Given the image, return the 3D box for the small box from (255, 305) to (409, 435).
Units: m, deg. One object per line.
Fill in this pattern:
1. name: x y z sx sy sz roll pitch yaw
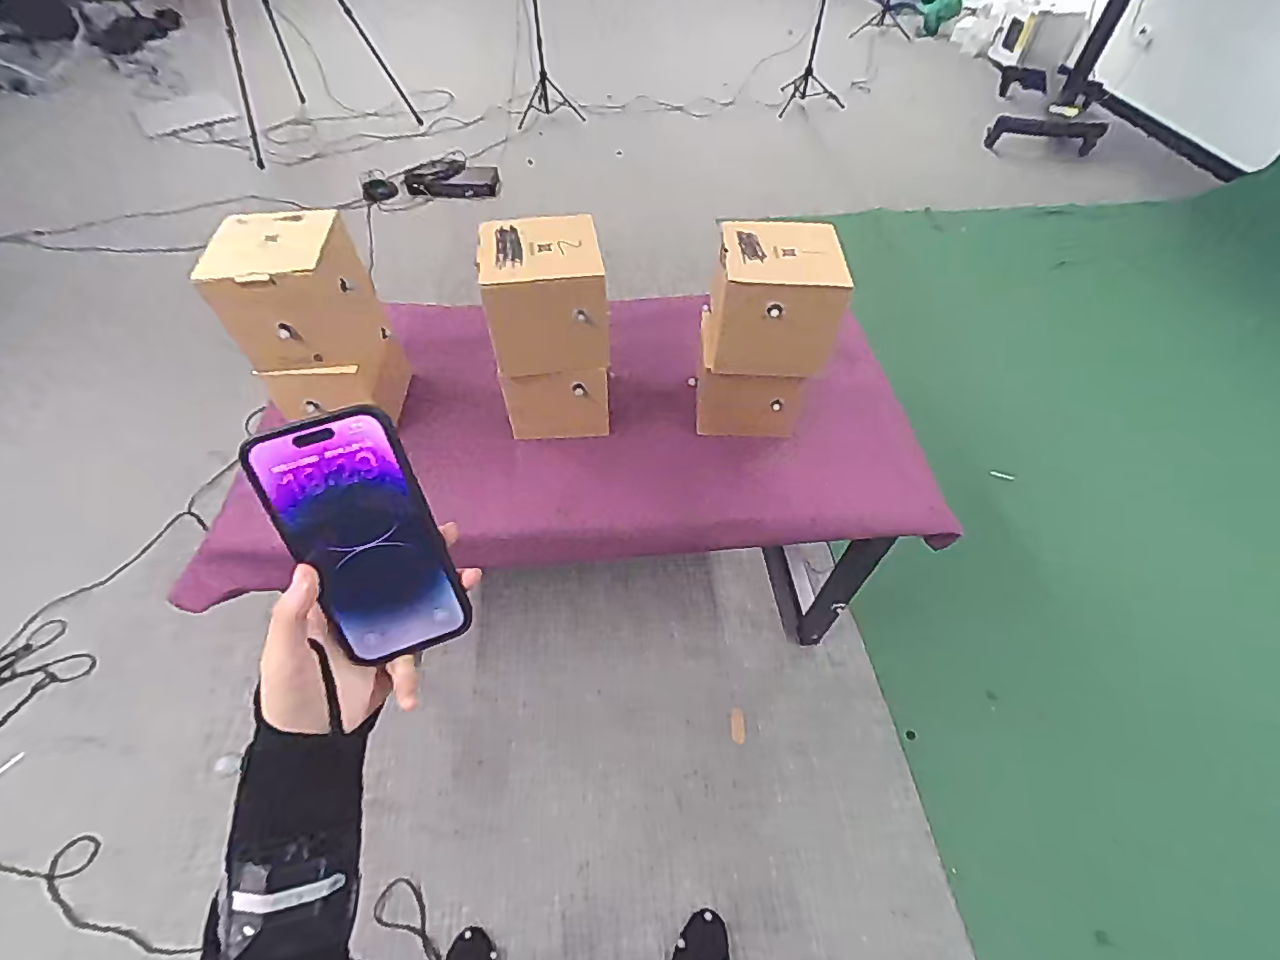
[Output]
1. small box: -0.542 -0.195 0.983 0.168 0.176 0.179 -1 53 -2

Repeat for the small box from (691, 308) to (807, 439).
1. small box: 0.190 -0.190 0.989 0.179 0.176 0.168 3 53 2

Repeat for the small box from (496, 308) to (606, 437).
1. small box: -0.150 -0.192 0.984 0.179 0.176 0.168 -2 54 -2

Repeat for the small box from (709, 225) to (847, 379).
1. small box: 0.201 -0.276 0.849 0.179 0.176 0.168 3 53 1

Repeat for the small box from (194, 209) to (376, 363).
1. small box: -0.540 -0.299 0.856 0.168 0.176 0.179 -5 54 -5
